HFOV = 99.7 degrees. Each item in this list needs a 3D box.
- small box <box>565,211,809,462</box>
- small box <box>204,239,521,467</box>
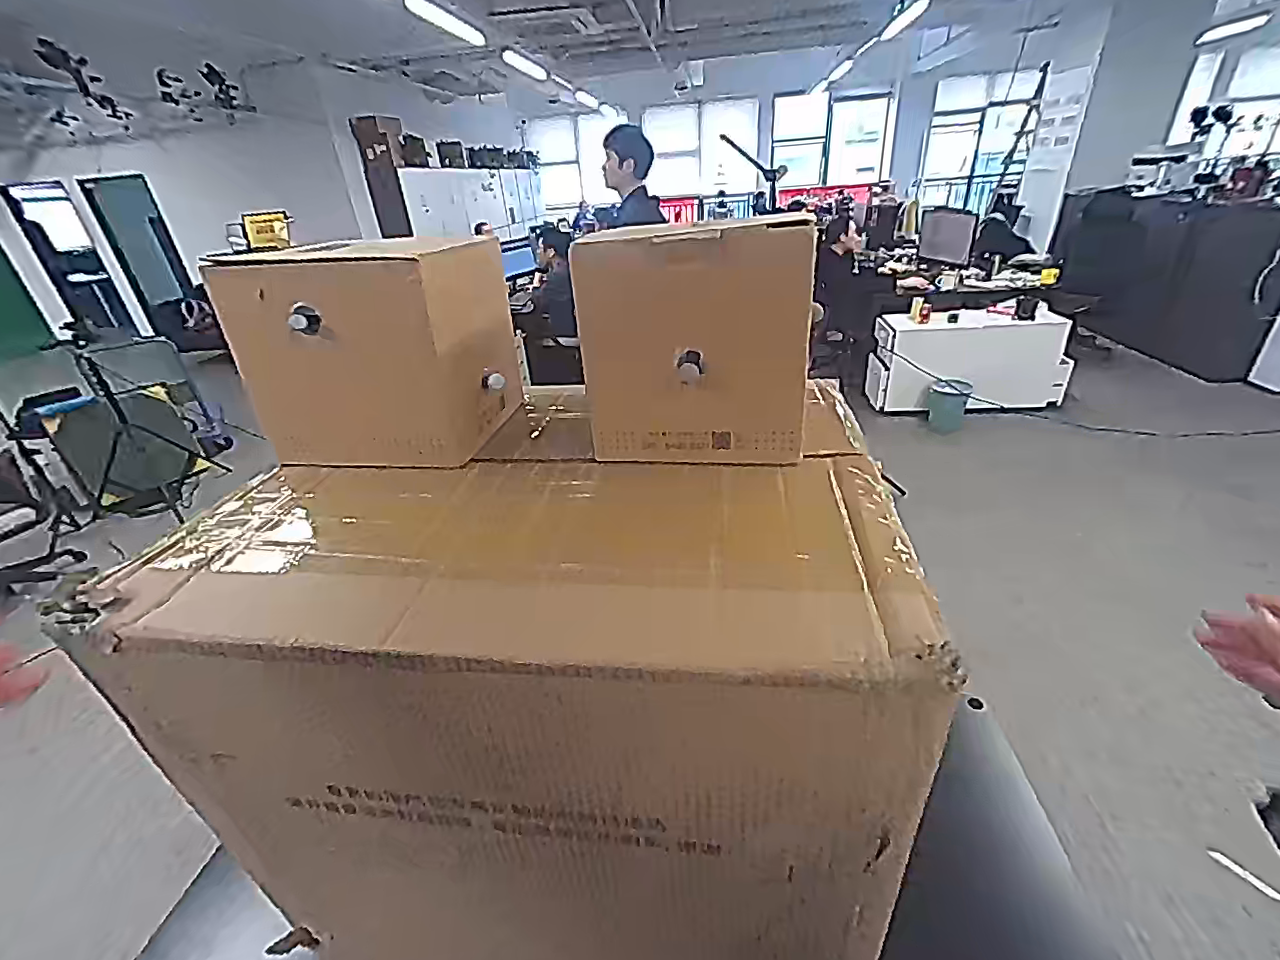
[{"bbox_3d":[0.051,-0.124,0.459,0.168,0.176,0.179,1,28,12],"label":"small box"},{"bbox_3d":[-0.226,-0.120,0.495,0.179,0.176,0.168,1,29,8],"label":"small box"}]
